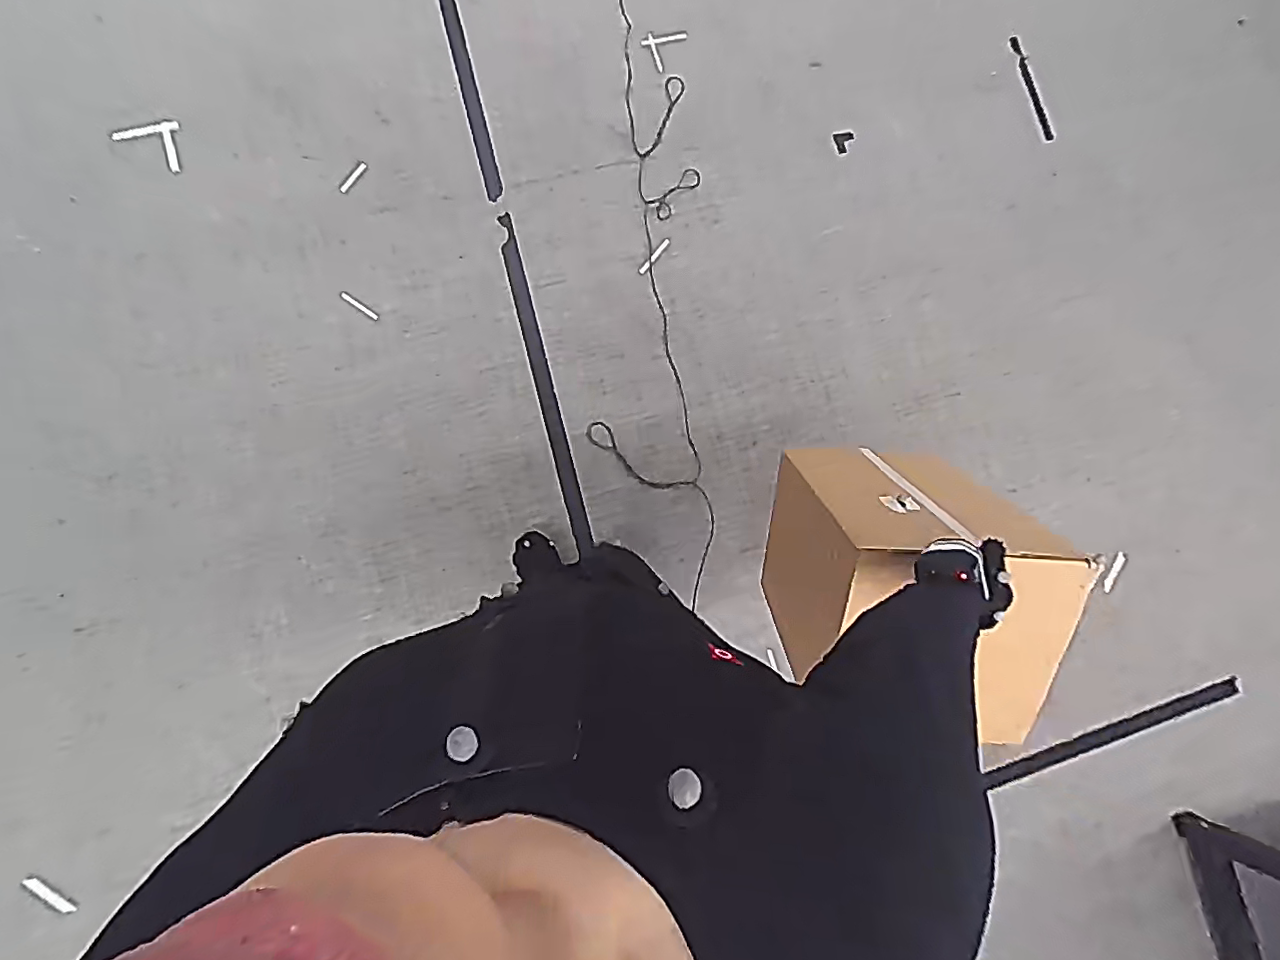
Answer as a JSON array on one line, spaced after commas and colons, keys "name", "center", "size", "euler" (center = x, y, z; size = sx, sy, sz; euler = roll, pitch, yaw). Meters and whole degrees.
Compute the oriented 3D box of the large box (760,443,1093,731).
[{"name": "large box", "center": [0.422, 0.156, 0.933], "size": [0.320, 0.408, 0.320], "euler": [3, 114, -2]}]
